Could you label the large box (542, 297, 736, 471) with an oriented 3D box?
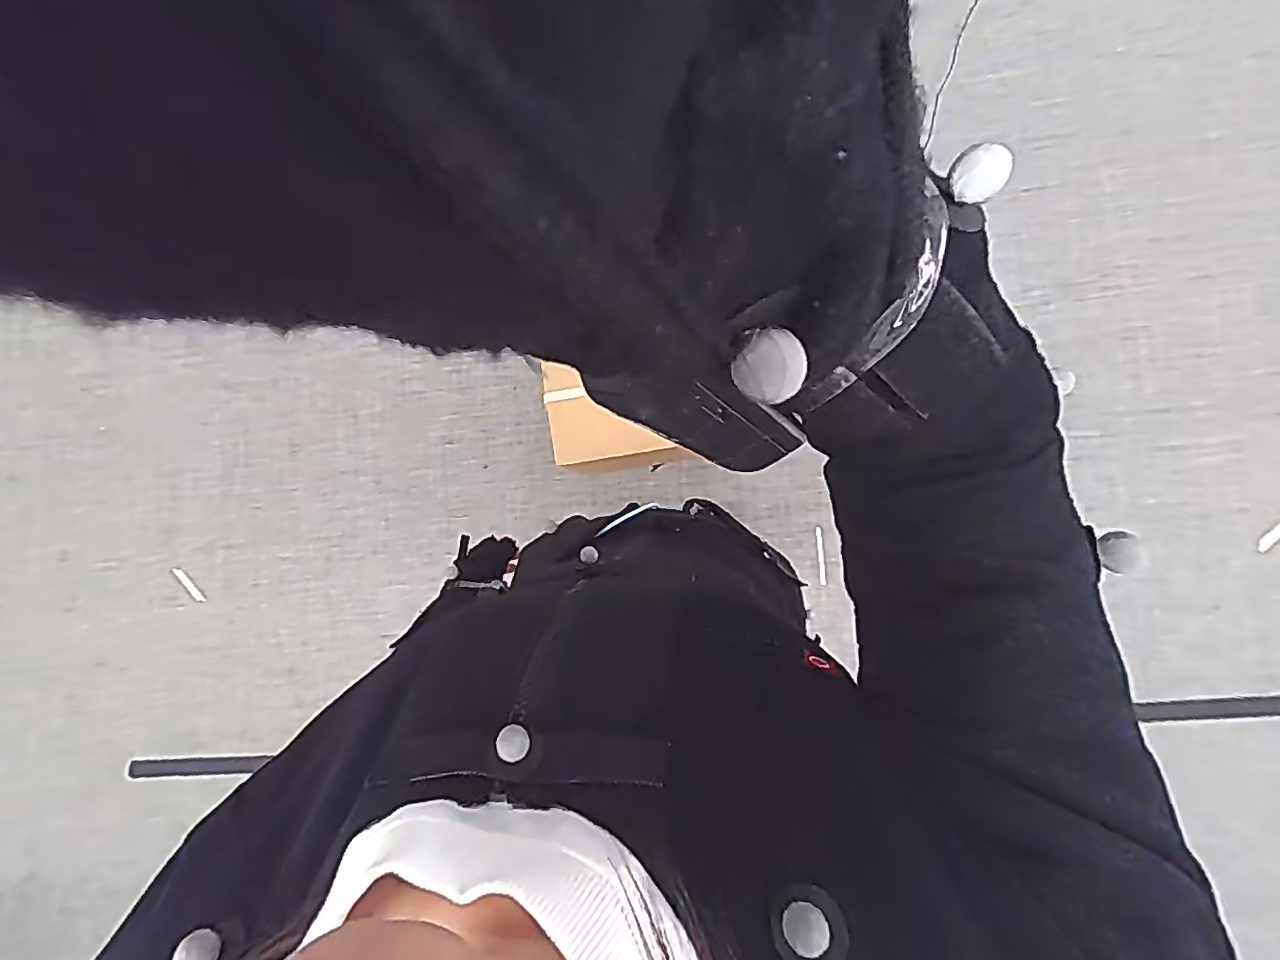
[{"bbox_3d":[0.006,-0.215,1.353,0.408,0.320,0.320,-9,86,5],"label":"large box"}]
